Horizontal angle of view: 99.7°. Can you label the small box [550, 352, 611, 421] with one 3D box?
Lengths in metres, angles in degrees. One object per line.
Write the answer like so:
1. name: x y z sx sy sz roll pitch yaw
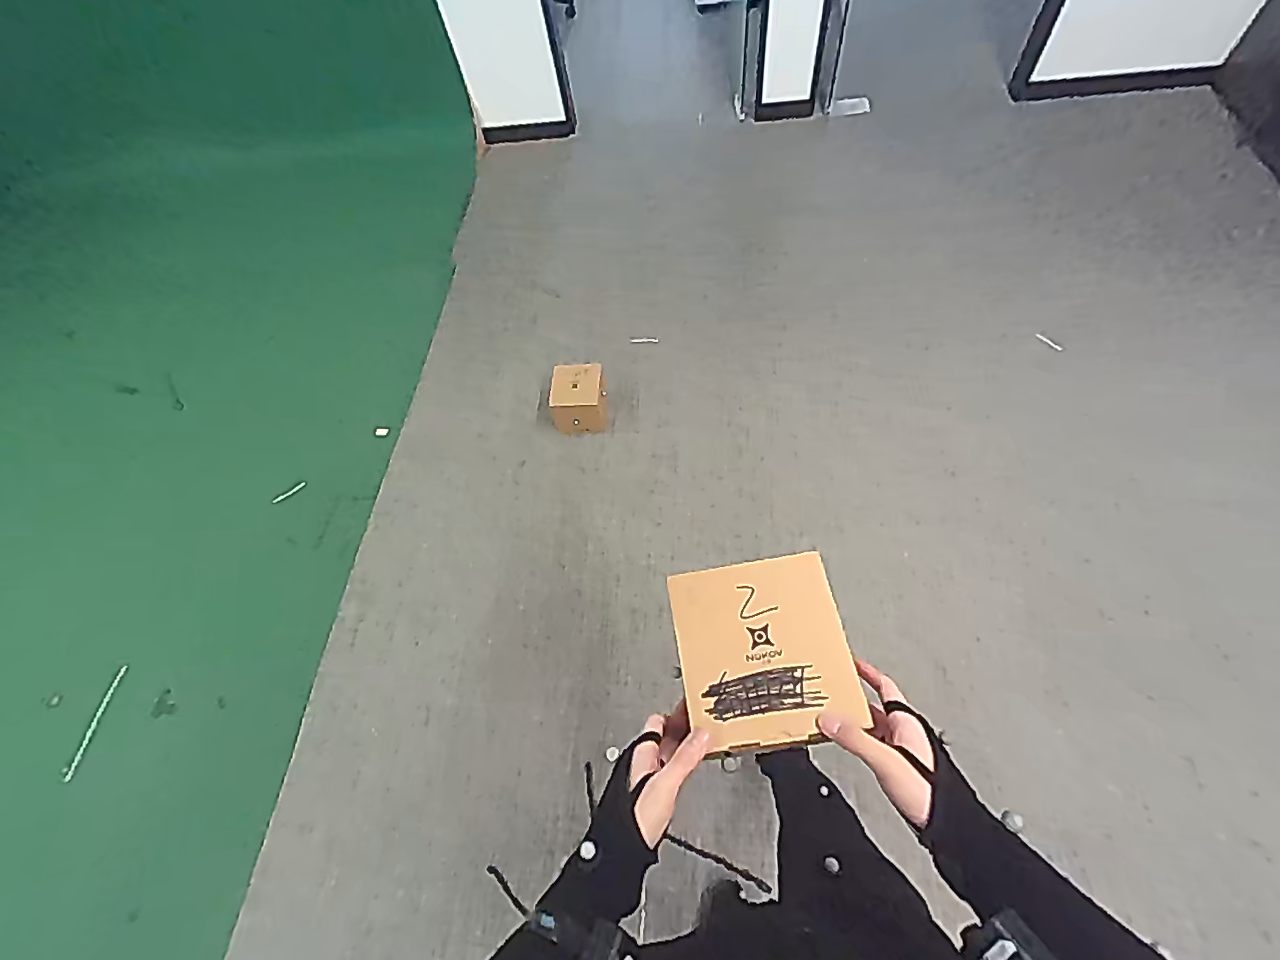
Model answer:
1. small box: -0.196 -0.315 1.851 0.168 0.176 0.179 2 62 7
